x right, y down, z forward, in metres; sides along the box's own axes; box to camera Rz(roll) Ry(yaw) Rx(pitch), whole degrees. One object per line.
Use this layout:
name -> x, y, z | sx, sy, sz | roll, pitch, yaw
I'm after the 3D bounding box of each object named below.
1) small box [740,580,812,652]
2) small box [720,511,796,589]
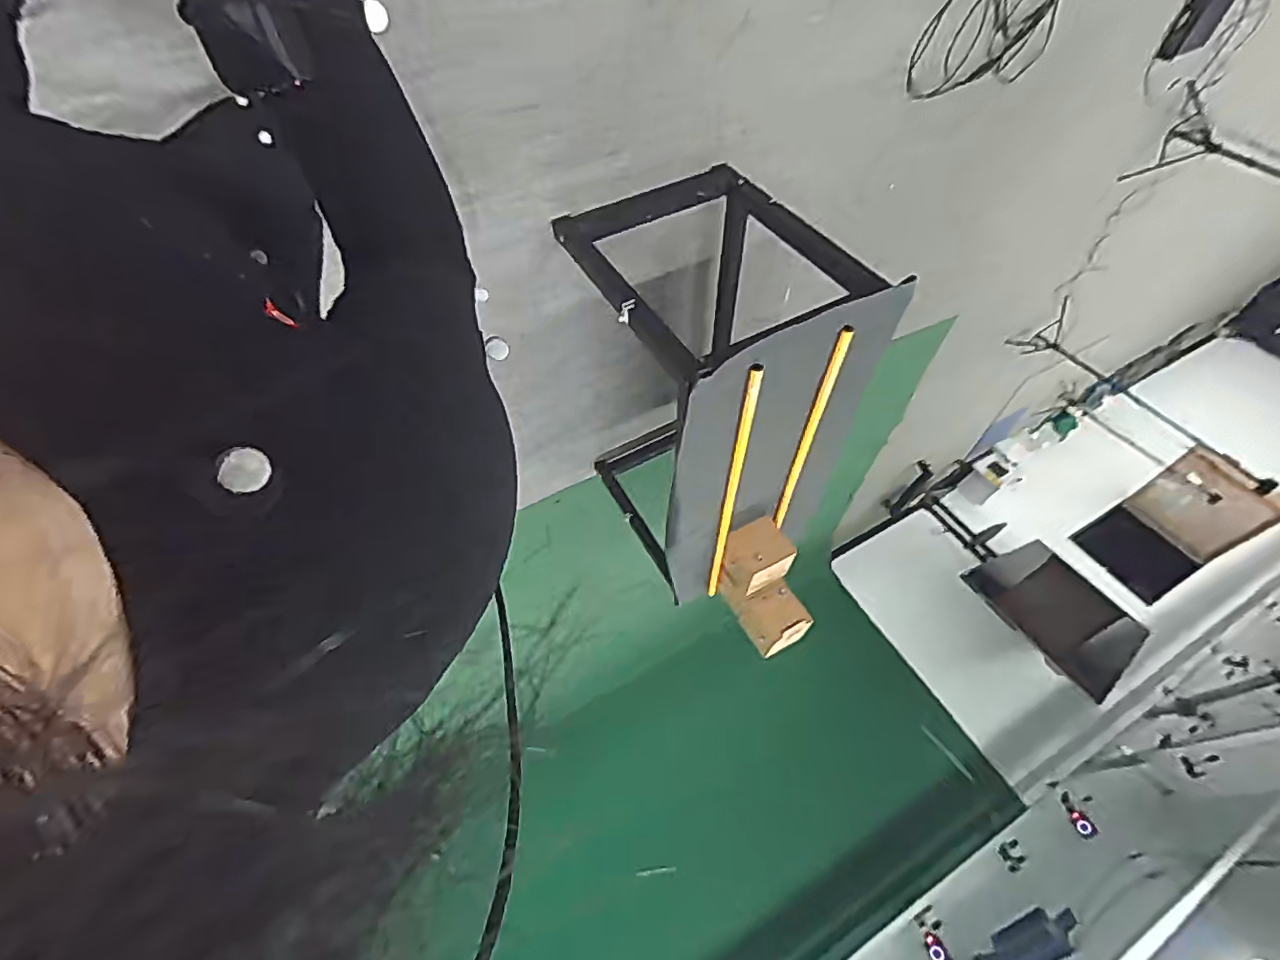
small box -> 0.482, 0.483, 1.946 | 0.168, 0.176, 0.179 | -22, 148, -18
small box -> 0.395, 0.236, 1.842 | 0.179, 0.176, 0.168 | -24, 148, -17
